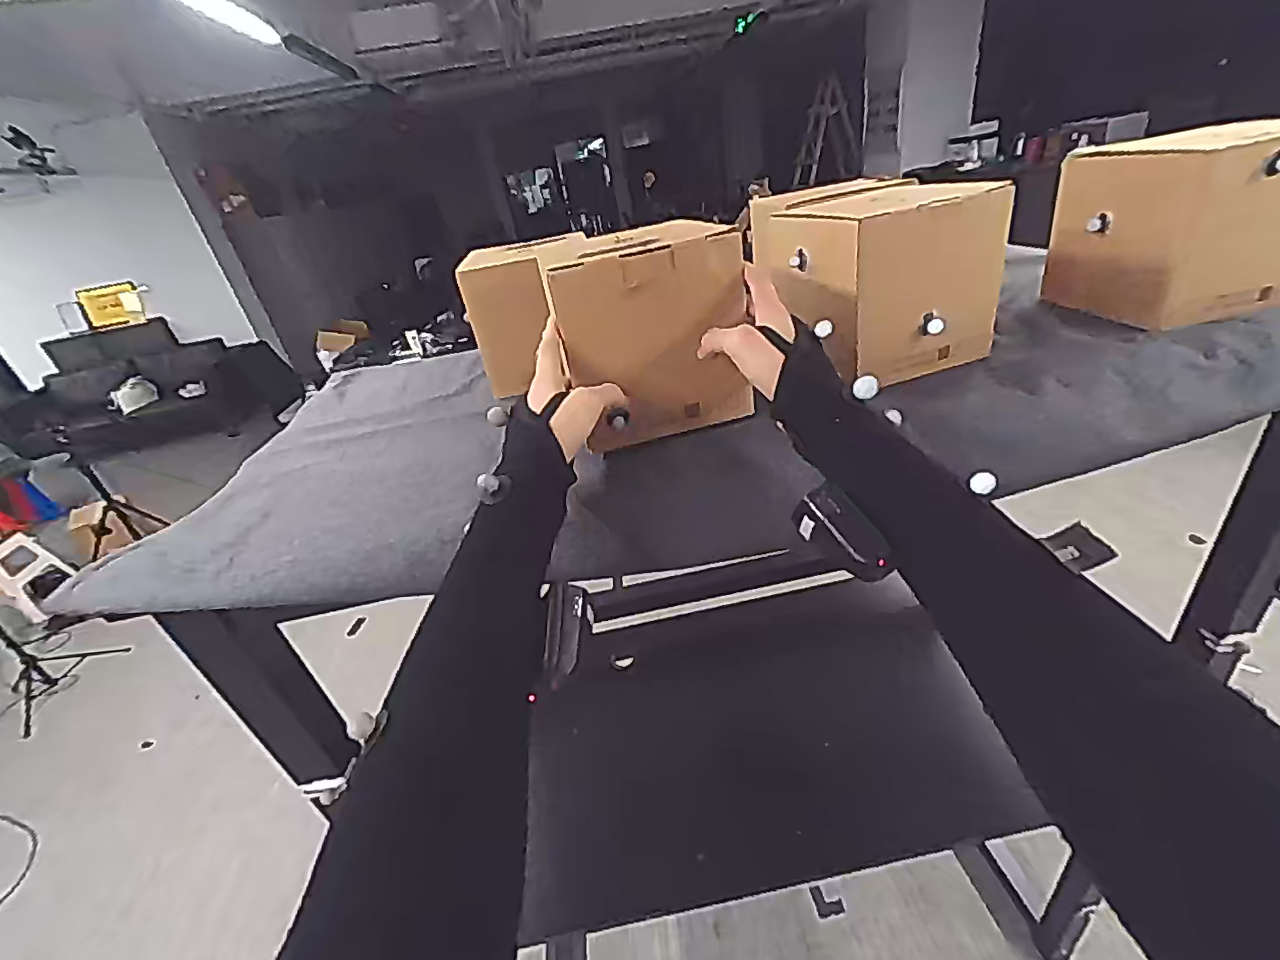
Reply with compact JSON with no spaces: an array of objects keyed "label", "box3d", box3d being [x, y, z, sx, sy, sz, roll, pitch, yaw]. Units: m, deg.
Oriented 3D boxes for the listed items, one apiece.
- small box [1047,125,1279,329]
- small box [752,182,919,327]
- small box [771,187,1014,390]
[{"label":"small box","box3d":[0.590,-0.273,0.588,0.168,0.176,0.179,-11,29,1]},{"label":"small box","box3d":[0.272,-0.325,0.786,0.179,0.176,0.168,-11,29,-1]},{"label":"small box","box3d":[0.259,-0.213,0.597,0.168,0.176,0.179,-16,30,-9]}]
